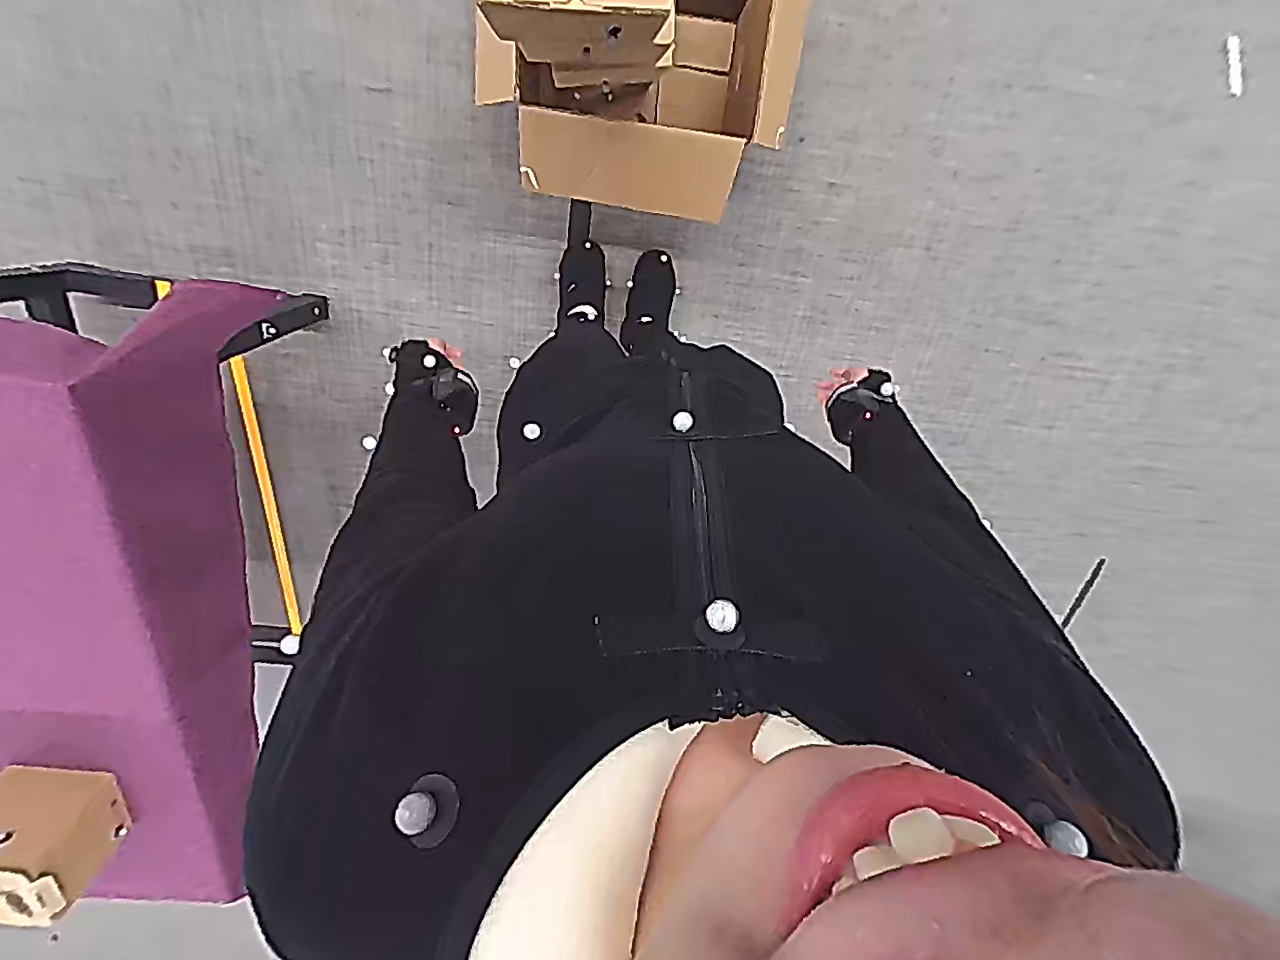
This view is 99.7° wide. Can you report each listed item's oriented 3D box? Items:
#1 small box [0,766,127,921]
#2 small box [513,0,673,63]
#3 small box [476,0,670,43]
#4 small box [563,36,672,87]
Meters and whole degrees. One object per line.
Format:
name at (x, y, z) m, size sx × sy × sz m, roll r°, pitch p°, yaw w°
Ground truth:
small box at (-1.056, 0.629, 0.945) m, size 0.179 × 0.176 × 0.168 m, roll 9°, pitch 116°, yaw -7°
small box at (-0.057, -0.591, 0.616) m, size 0.179 × 0.176 × 0.168 m, roll -2°, pitch 122°, yaw -5°
small box at (-0.059, -0.508, 0.474) m, size 0.168 × 0.176 × 0.179 m, roll -1°, pitch 121°, yaw -6°
small box at (-0.057, -0.774, 0.890) m, size 0.179 × 0.176 × 0.168 m, roll -14°, pitch 121°, yaw 1°
